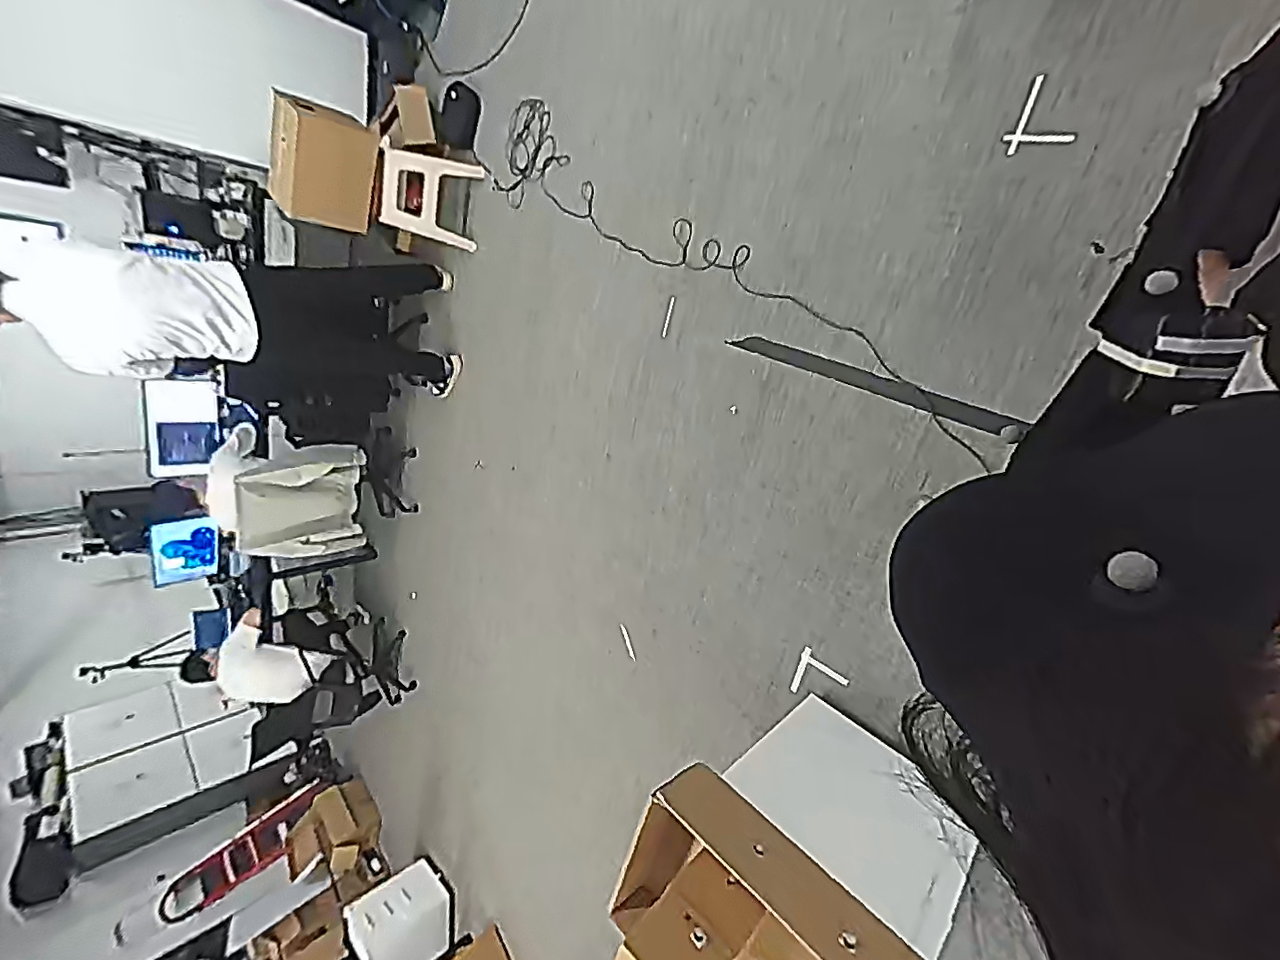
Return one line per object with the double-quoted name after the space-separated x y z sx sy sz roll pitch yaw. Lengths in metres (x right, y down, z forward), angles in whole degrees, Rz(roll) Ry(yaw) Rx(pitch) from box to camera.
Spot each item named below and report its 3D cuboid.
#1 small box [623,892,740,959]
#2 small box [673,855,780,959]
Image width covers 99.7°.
0.066 0.950 1.023 0.168 0.176 0.179 27 108 34 "small box"
0.166 0.949 1.152 0.179 0.176 0.168 28 110 35 "small box"
